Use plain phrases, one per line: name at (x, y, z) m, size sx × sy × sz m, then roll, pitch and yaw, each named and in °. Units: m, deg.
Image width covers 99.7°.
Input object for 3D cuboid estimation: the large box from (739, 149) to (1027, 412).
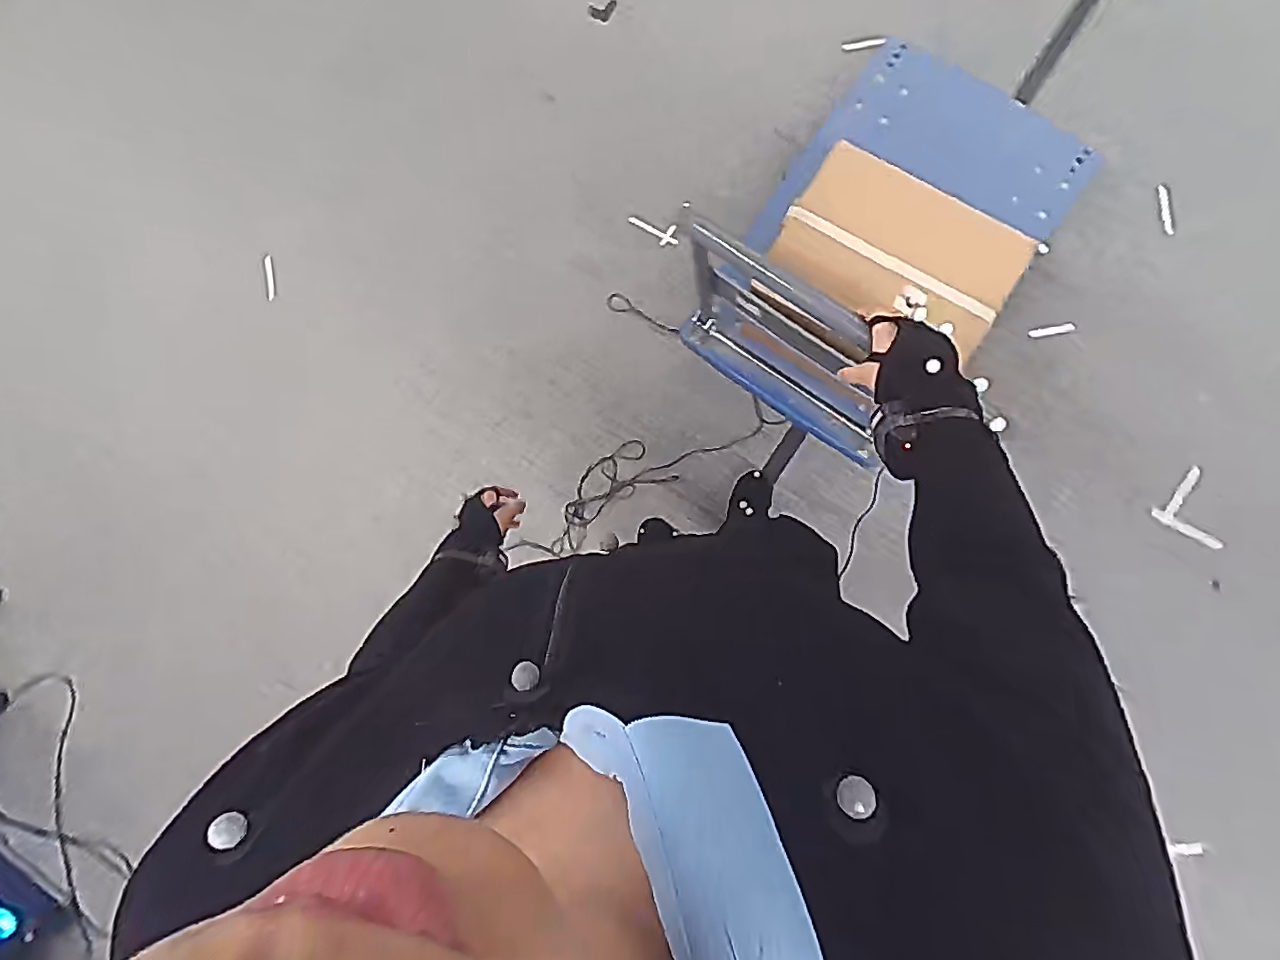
large box at (0.467, -0.391, 1.144) m, size 0.408 × 0.320 × 0.320 m, roll 32°, pitch 93°, yaw 6°
